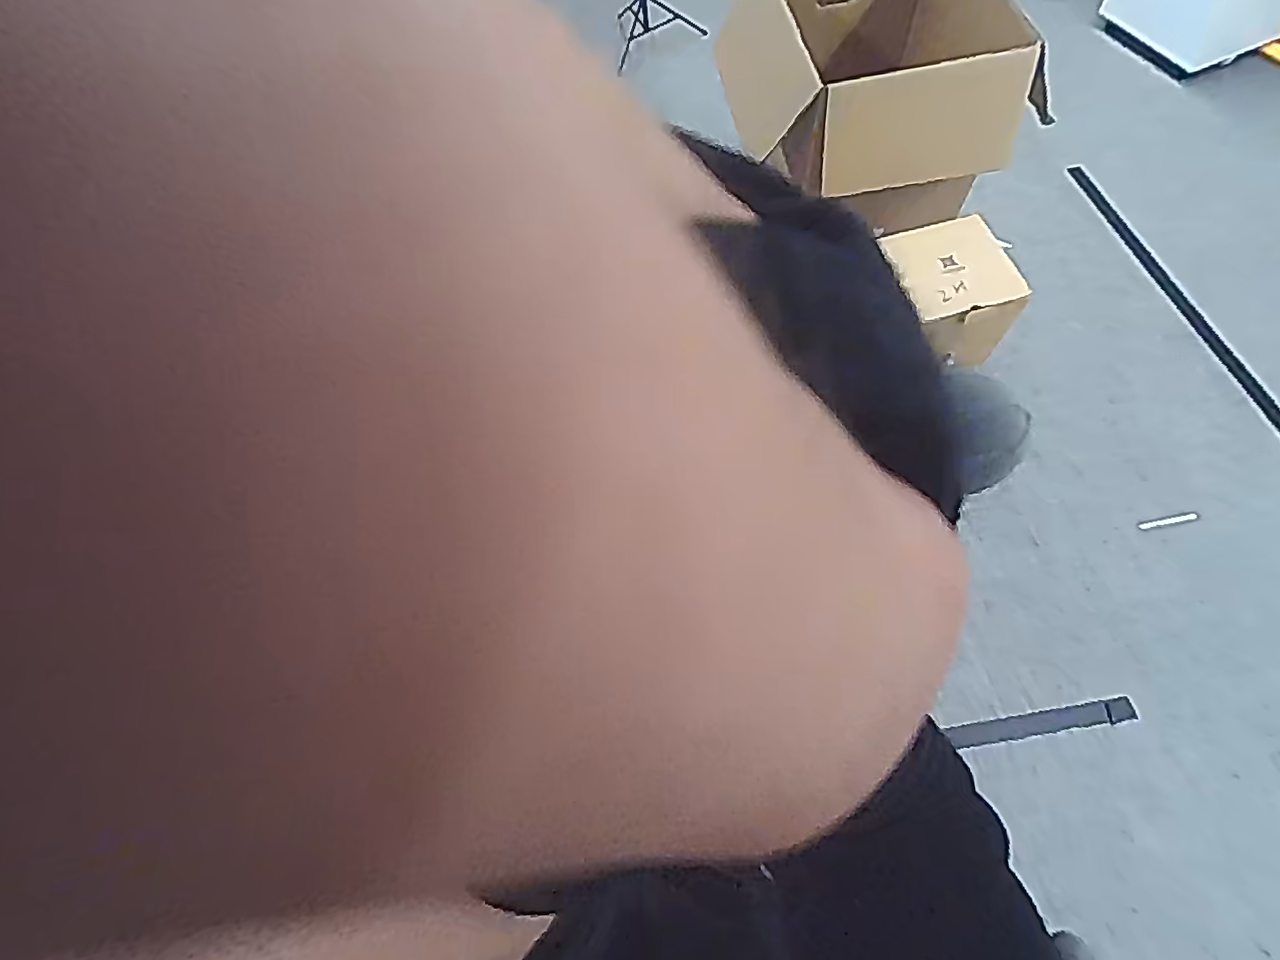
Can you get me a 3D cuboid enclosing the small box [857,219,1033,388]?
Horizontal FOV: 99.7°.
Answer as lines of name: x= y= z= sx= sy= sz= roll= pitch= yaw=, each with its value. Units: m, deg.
small box: x=0.472 y=-0.278 z=0.873 sx=0.168 sy=0.176 sz=0.179 roll=-13 pitch=65 yaw=3
